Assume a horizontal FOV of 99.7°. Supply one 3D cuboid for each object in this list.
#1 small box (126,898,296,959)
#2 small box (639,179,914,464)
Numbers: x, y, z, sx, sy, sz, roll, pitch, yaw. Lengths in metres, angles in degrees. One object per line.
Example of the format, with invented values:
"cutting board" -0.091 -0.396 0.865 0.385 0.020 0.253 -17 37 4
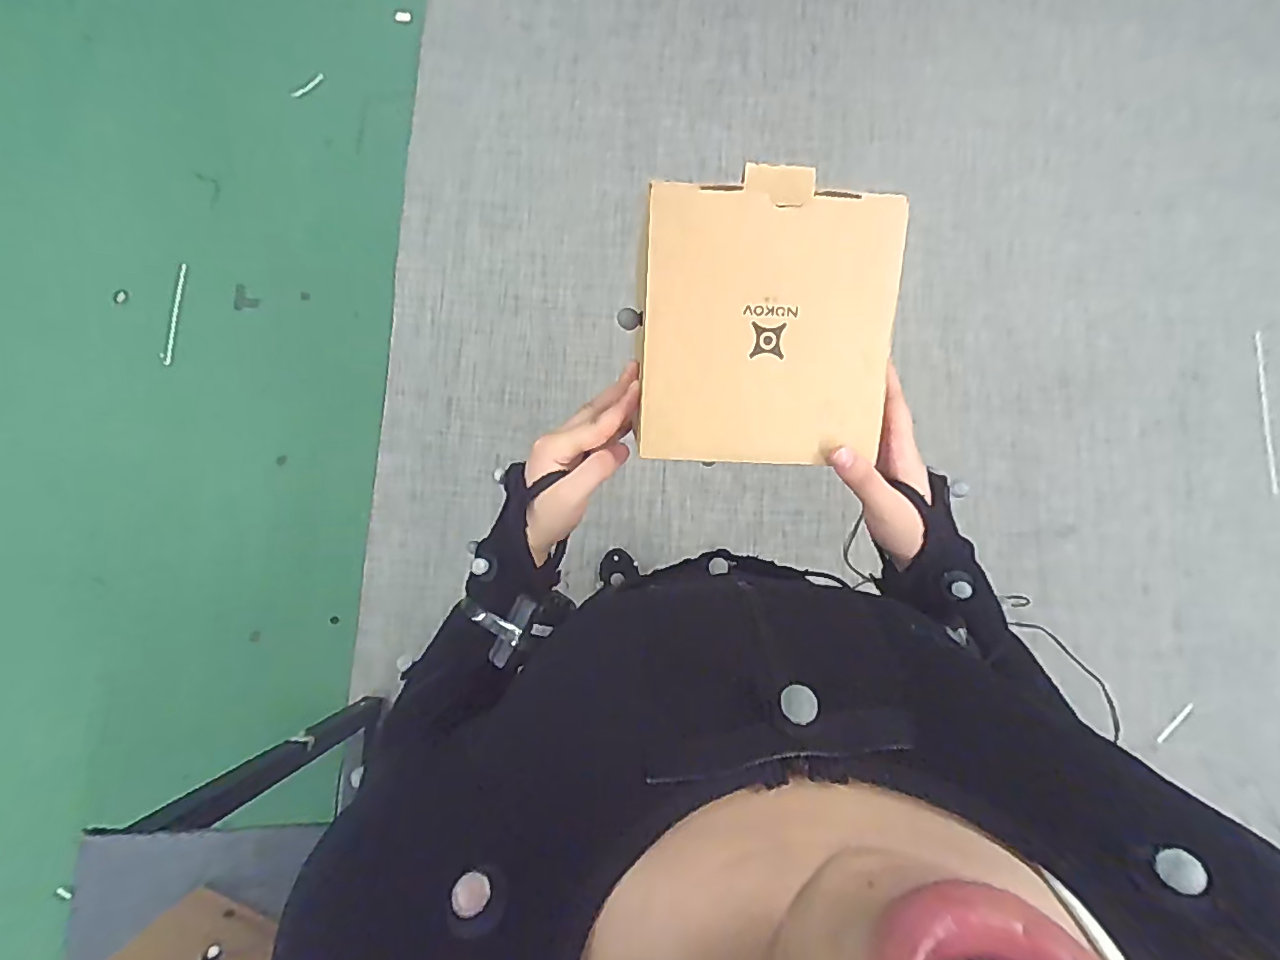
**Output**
"small box" -0.544 0.648 0.628 0.168 0.176 0.179 23 86 4
"small box" 0.086 -0.114 0.431 0.168 0.176 0.179 1 100 -2
